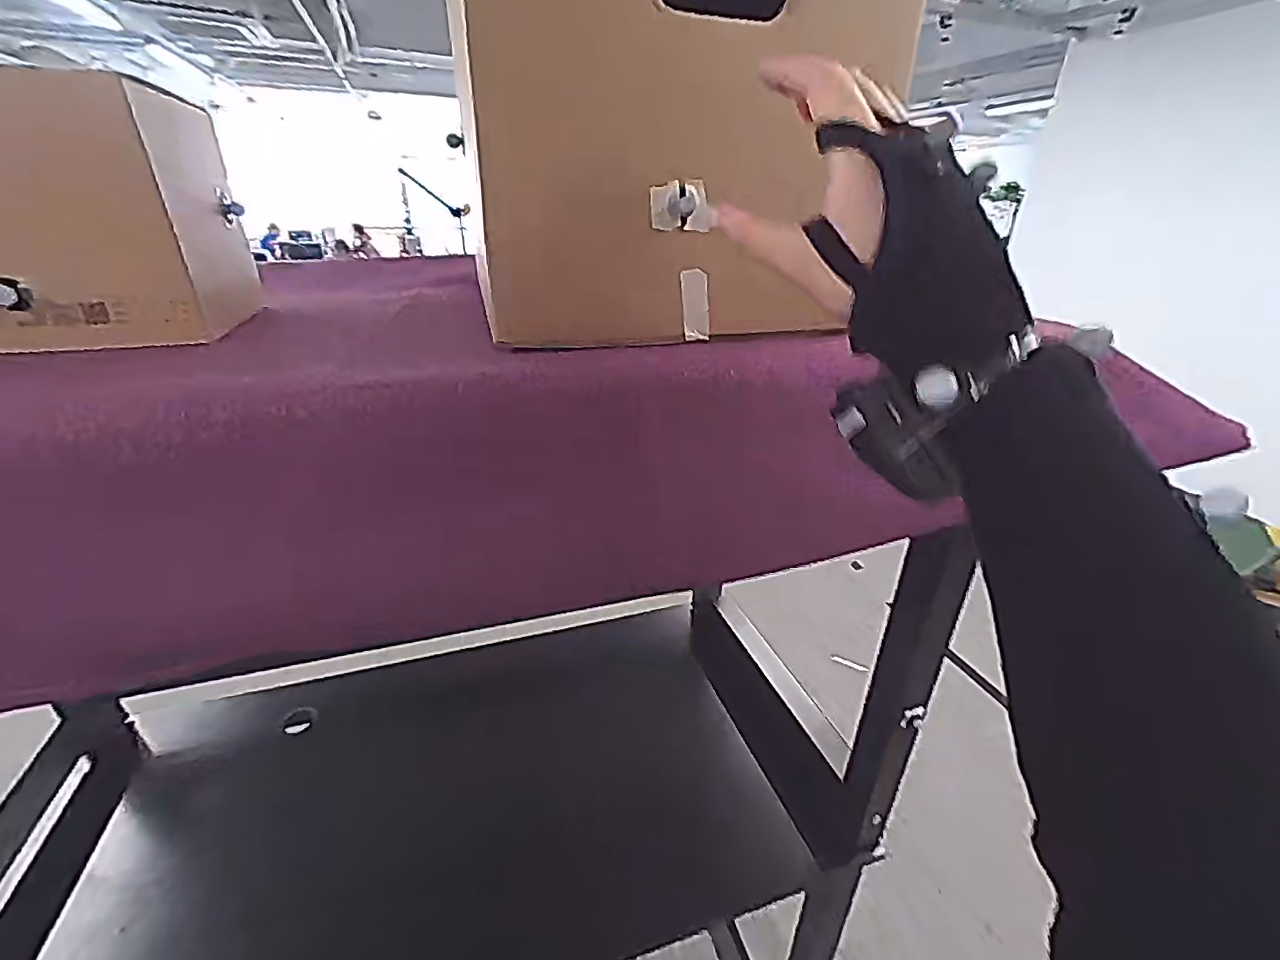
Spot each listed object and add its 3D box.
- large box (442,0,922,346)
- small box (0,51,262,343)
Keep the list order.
[{"bbox_3d":[-0.008,-0.328,0.522,0.320,0.320,0.408,-6,26,-16],"label":"large box"},{"bbox_3d":[-0.416,-0.203,0.408,0.168,0.176,0.179,-9,29,-17],"label":"small box"}]
